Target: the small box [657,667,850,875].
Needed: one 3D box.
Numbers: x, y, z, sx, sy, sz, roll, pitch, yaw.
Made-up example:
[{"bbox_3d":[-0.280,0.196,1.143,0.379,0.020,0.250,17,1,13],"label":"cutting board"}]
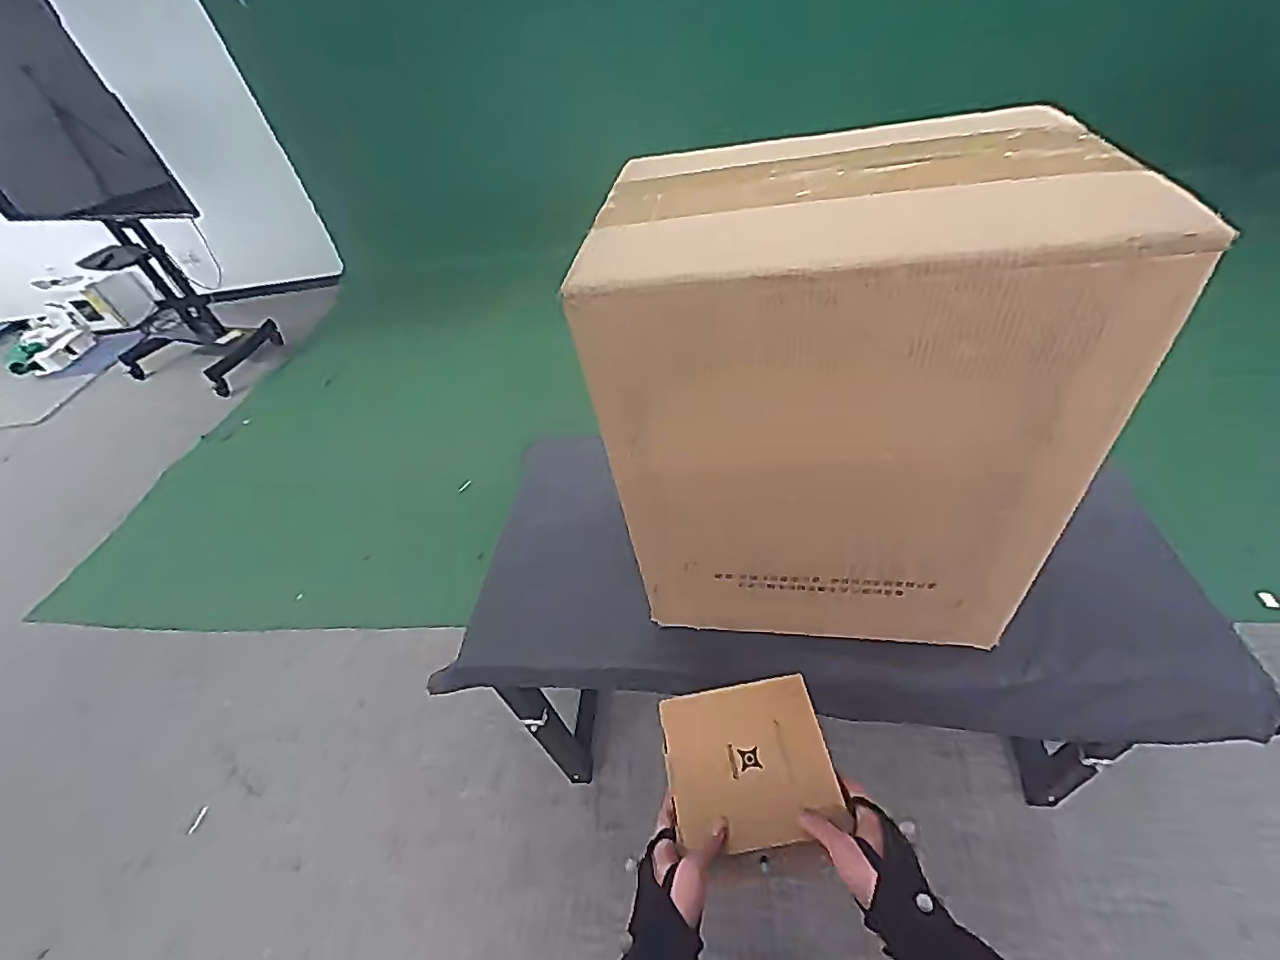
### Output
[{"bbox_3d":[0.127,0.351,0.647,0.179,0.176,0.168,-11,47,0],"label":"small box"}]
